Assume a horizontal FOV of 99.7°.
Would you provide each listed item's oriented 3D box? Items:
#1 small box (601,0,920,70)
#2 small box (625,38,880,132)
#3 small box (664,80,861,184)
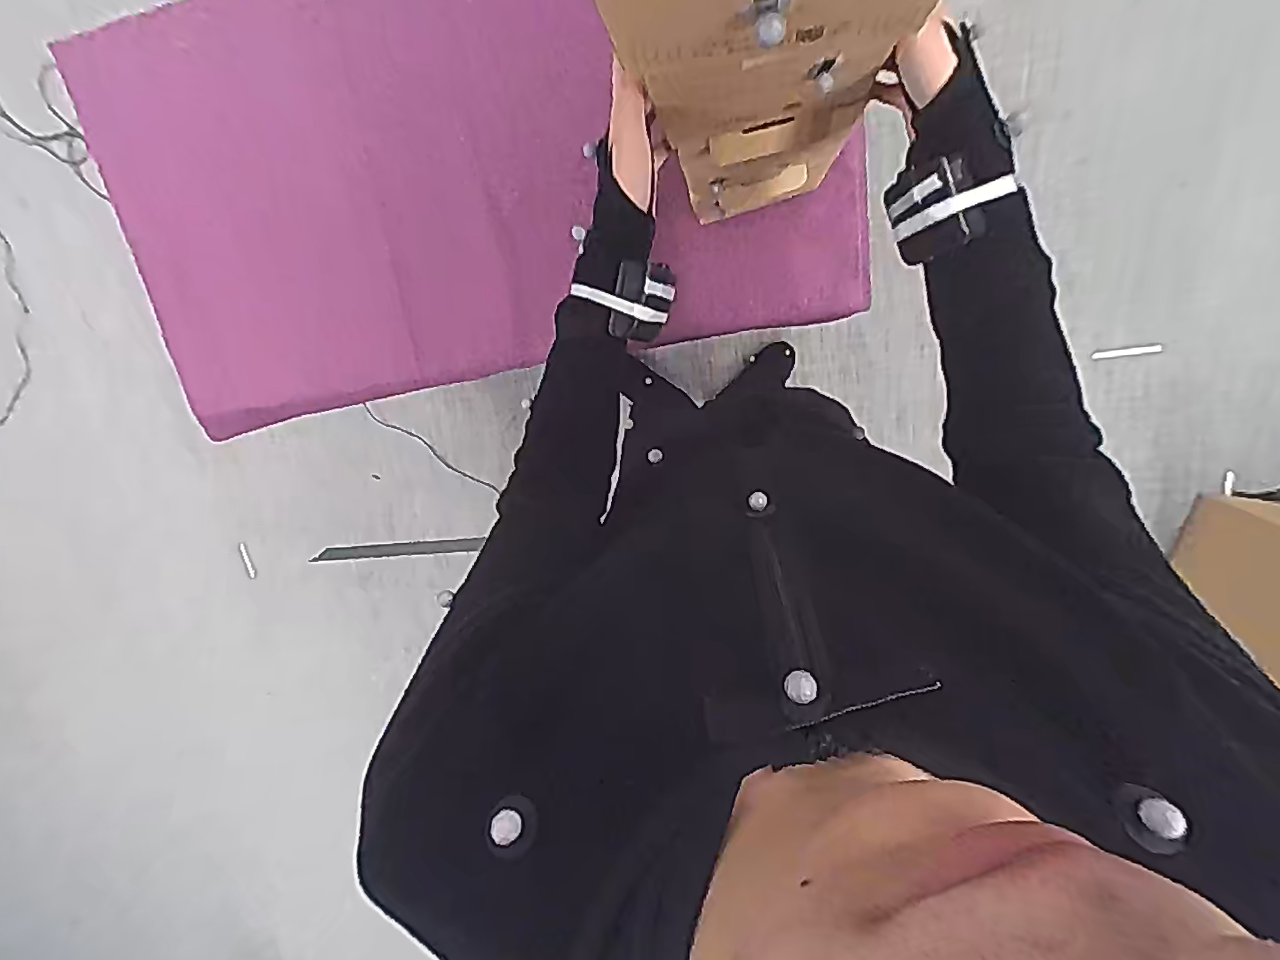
[{"bbox_3d":[0.049,-0.303,0.207,0.168,0.176,0.179,-1,106,10],"label":"small box"},{"bbox_3d":[0.072,-0.361,0.360,0.168,0.176,0.179,-7,104,12],"label":"small box"},{"bbox_3d":[0.103,-0.403,0.514,0.168,0.176,0.179,-8,104,12],"label":"small box"}]
